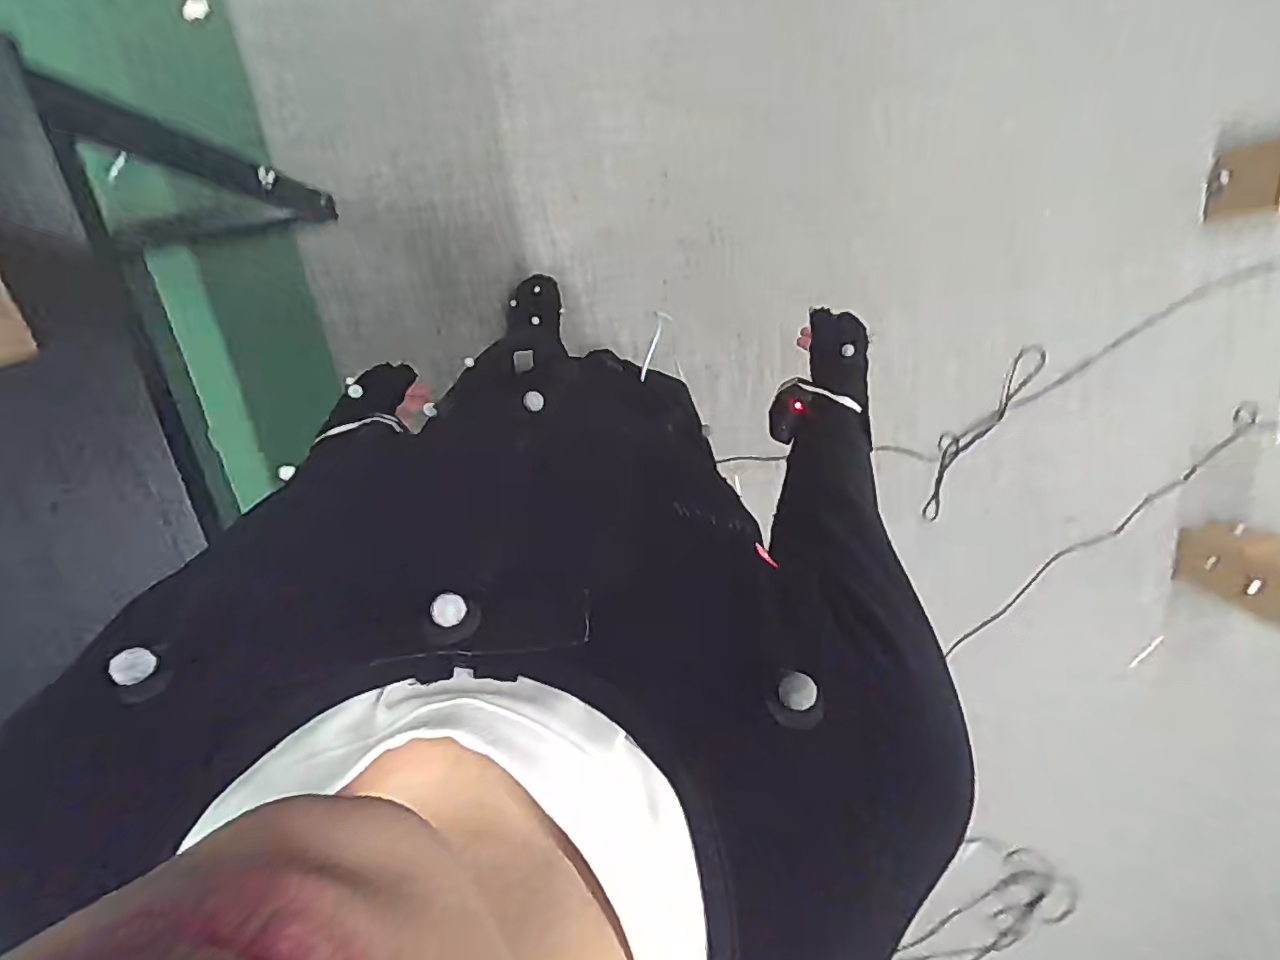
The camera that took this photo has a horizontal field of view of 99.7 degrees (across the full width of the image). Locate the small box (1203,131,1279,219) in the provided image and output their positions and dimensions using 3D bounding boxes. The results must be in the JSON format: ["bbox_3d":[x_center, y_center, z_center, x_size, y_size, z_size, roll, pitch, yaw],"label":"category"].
[{"bbox_3d":[1.494,-0.713,1.257,0.179,0.176,0.168,-3,105,-1],"label":"small box"}]

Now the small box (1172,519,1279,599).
[{"bbox_3d":[1.671,0.219,1.529,0.168,0.176,0.179,-7,106,1],"label":"small box"}]

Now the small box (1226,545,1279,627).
[{"bbox_3d":[1.676,0.270,1.372,0.179,0.176,0.168,-6,106,1],"label":"small box"}]
